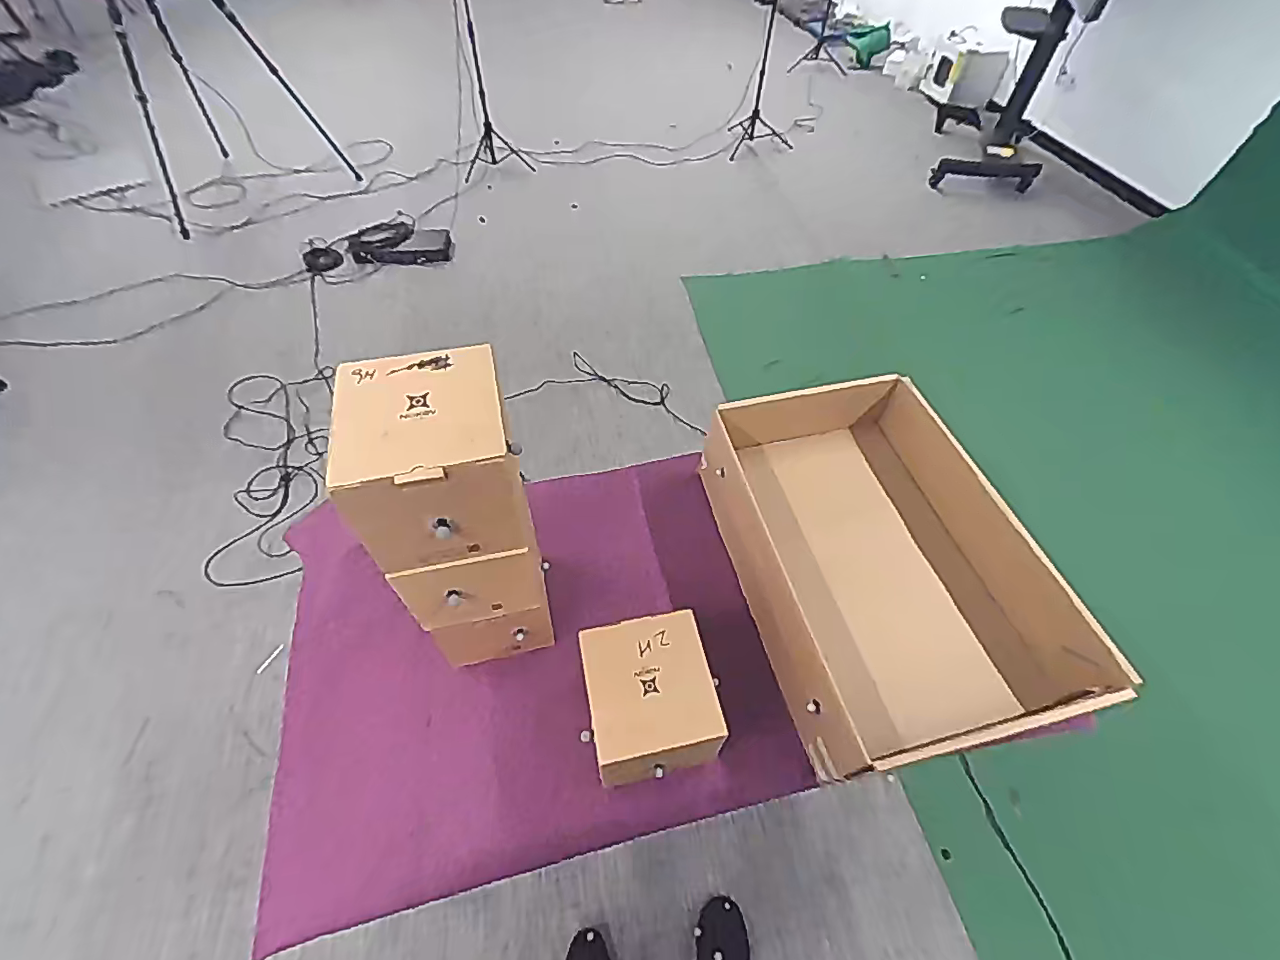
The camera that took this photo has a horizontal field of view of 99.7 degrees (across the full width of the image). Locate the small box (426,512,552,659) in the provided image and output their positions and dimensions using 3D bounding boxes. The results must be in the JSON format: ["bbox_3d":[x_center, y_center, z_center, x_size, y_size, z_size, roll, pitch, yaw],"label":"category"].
[{"bbox_3d":[-0.240,0.175,0.876,0.168,0.176,0.179,-9,54,-10],"label":"small box"}]

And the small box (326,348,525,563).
[{"bbox_3d":[-0.230,-0.020,0.616,0.168,0.176,0.179,-10,55,-11],"label":"small box"}]

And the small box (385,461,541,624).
[{"bbox_3d":[-0.235,0.082,0.744,0.168,0.176,0.179,-10,54,-10],"label":"small box"}]

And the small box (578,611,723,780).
[{"bbox_3d":[0.008,0.314,0.775,0.168,0.176,0.179,-9,53,-9],"label":"small box"}]
